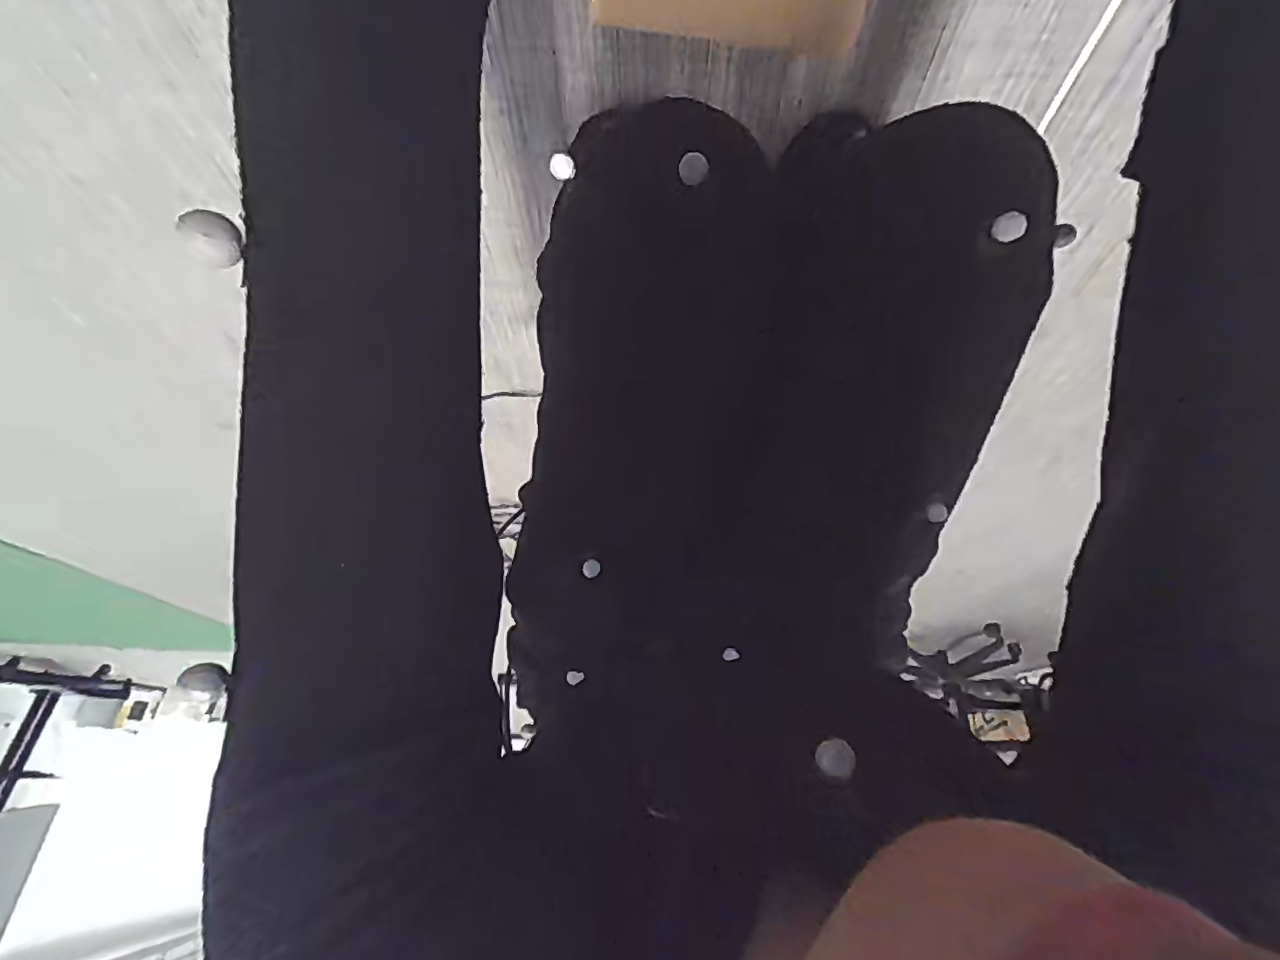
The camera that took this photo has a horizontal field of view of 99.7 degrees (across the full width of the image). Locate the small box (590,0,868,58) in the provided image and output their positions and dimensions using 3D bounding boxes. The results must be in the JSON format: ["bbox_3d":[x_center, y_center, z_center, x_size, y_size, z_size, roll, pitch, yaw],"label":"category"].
[{"bbox_3d":[0.066,-0.402,0.328,0.179,0.176,0.168,5,151,-3],"label":"small box"}]
